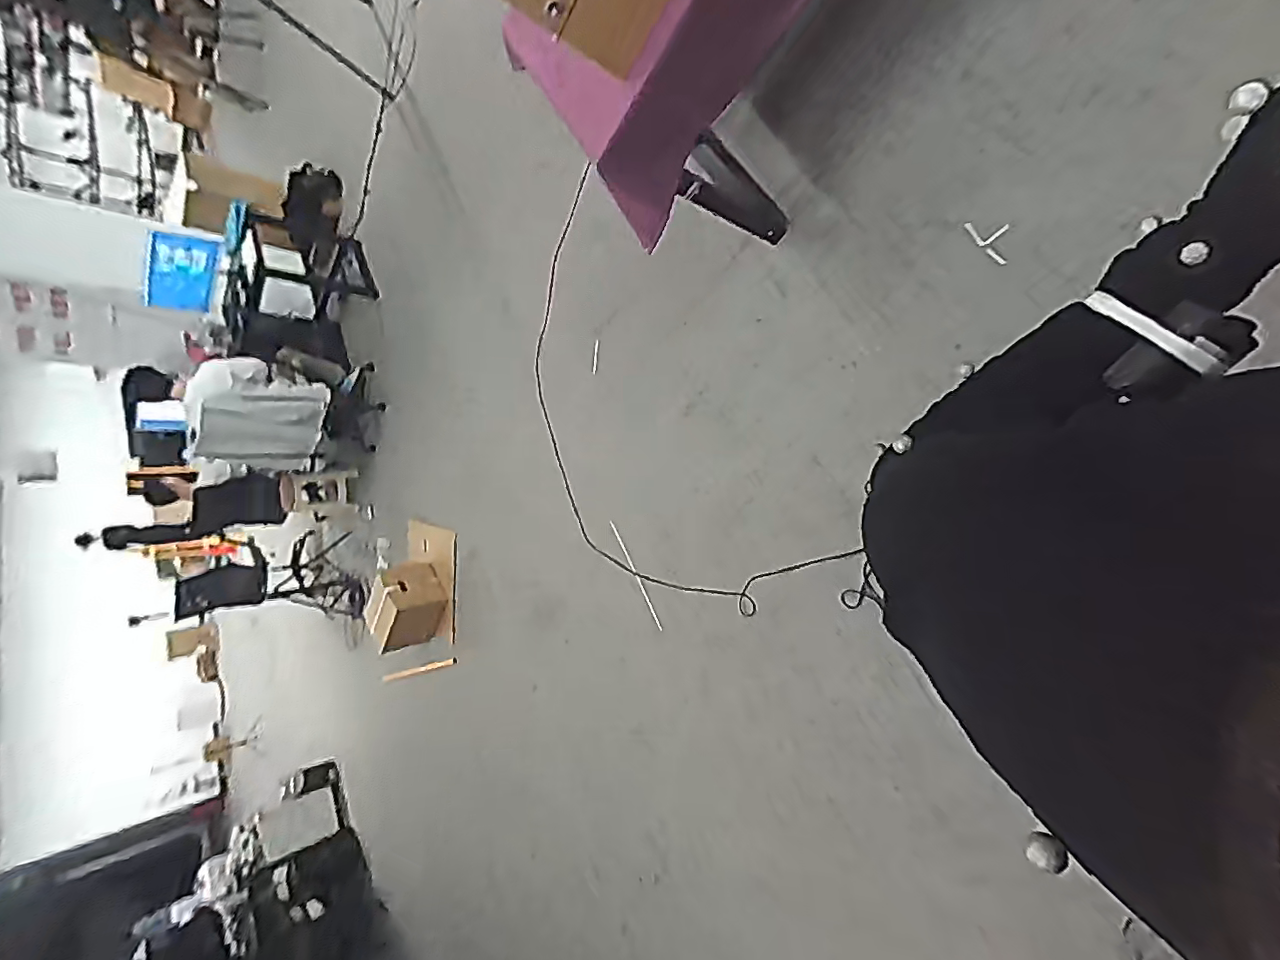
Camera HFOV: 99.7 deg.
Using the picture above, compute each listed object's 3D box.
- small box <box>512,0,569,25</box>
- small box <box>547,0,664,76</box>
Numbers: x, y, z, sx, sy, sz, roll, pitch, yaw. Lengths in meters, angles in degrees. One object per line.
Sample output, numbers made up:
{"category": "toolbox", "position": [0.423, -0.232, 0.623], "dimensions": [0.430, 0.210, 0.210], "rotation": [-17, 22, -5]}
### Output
{"category": "small box", "position": [-0.192, -0.919, 0.902], "dimensions": [0.168, 0.176, 0.179], "rotation": [-45, 61, 34]}
{"category": "small box", "position": [-0.079, -0.922, 1.021], "dimensions": [0.179, 0.176, 0.168], "rotation": [-44, 63, 35]}
